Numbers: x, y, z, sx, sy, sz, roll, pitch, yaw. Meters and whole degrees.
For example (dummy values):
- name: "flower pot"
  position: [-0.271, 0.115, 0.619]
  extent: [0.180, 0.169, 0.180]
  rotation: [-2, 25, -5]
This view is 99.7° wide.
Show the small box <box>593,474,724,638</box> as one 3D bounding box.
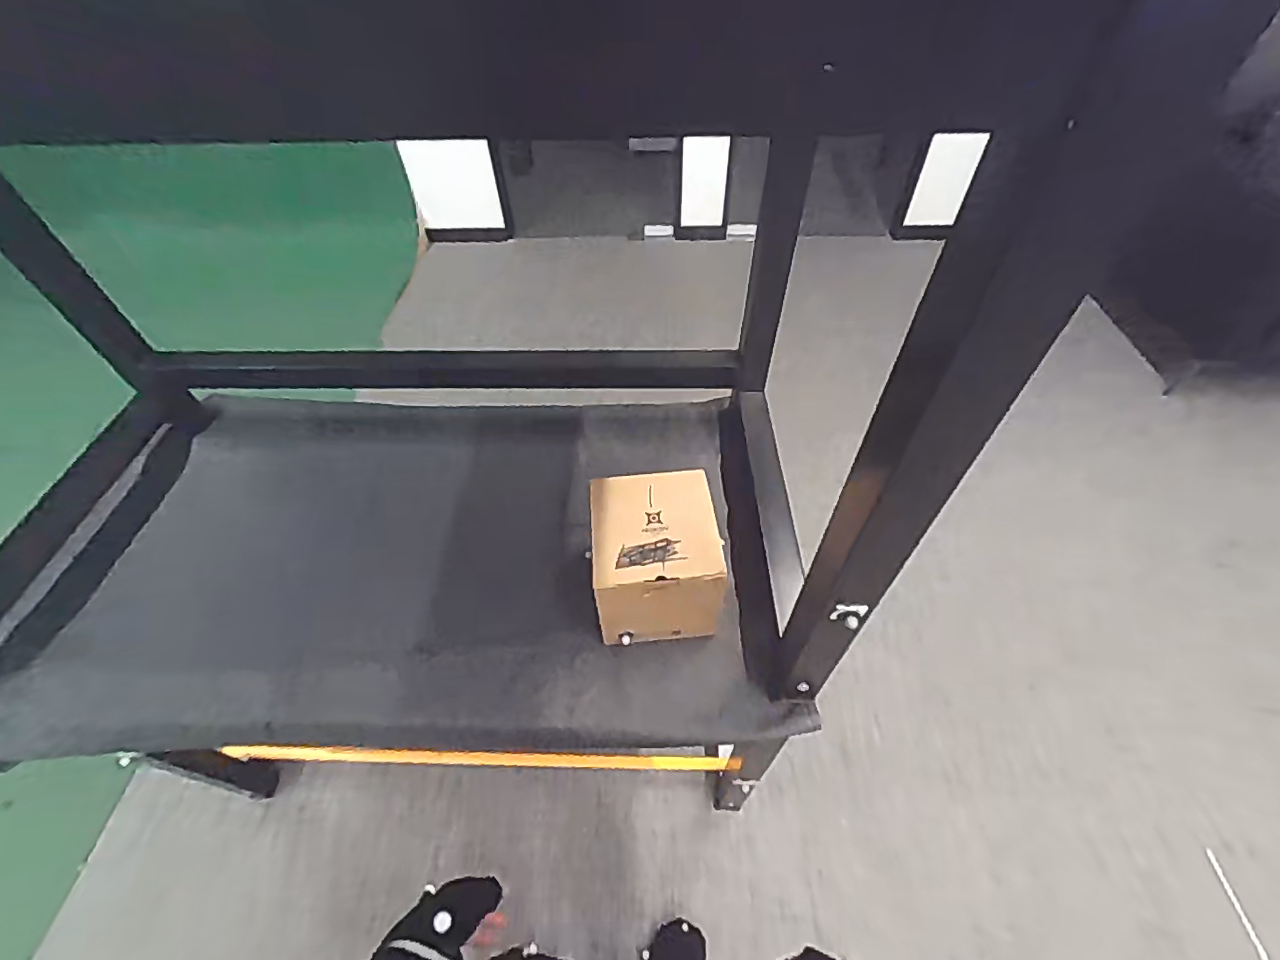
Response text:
- name: "small box"
  position: [0.023, 0.115, 0.781]
  extent: [0.168, 0.176, 0.179]
  rotation: [-4, 48, -1]
